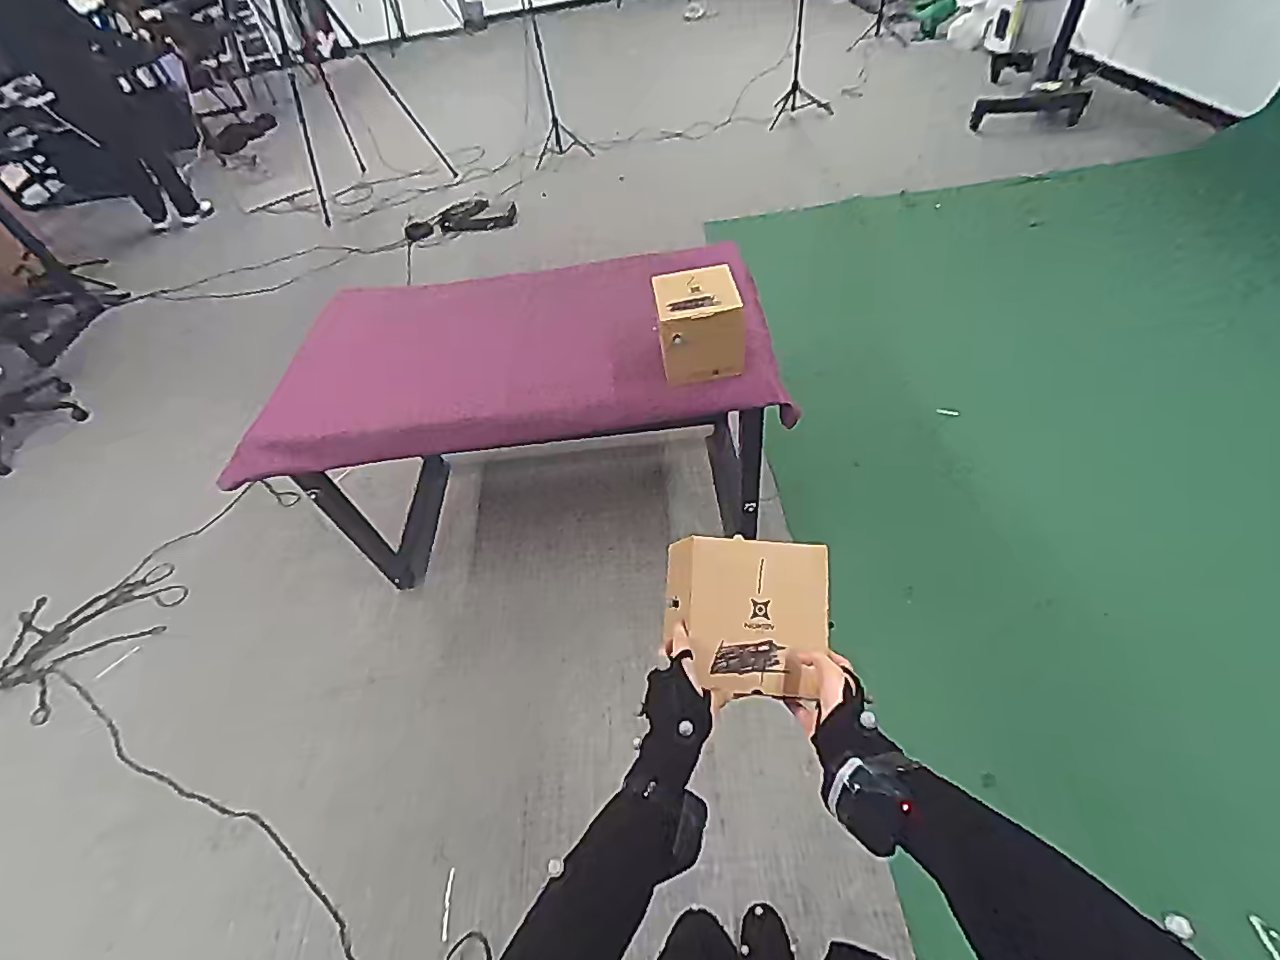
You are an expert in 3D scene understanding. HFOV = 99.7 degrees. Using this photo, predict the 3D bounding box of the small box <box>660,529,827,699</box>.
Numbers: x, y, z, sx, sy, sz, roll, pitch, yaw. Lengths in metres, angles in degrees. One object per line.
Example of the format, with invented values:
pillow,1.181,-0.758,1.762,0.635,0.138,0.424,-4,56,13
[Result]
small box,0.122,0.166,0.689,0.168,0.176,0.179,7,78,-5
